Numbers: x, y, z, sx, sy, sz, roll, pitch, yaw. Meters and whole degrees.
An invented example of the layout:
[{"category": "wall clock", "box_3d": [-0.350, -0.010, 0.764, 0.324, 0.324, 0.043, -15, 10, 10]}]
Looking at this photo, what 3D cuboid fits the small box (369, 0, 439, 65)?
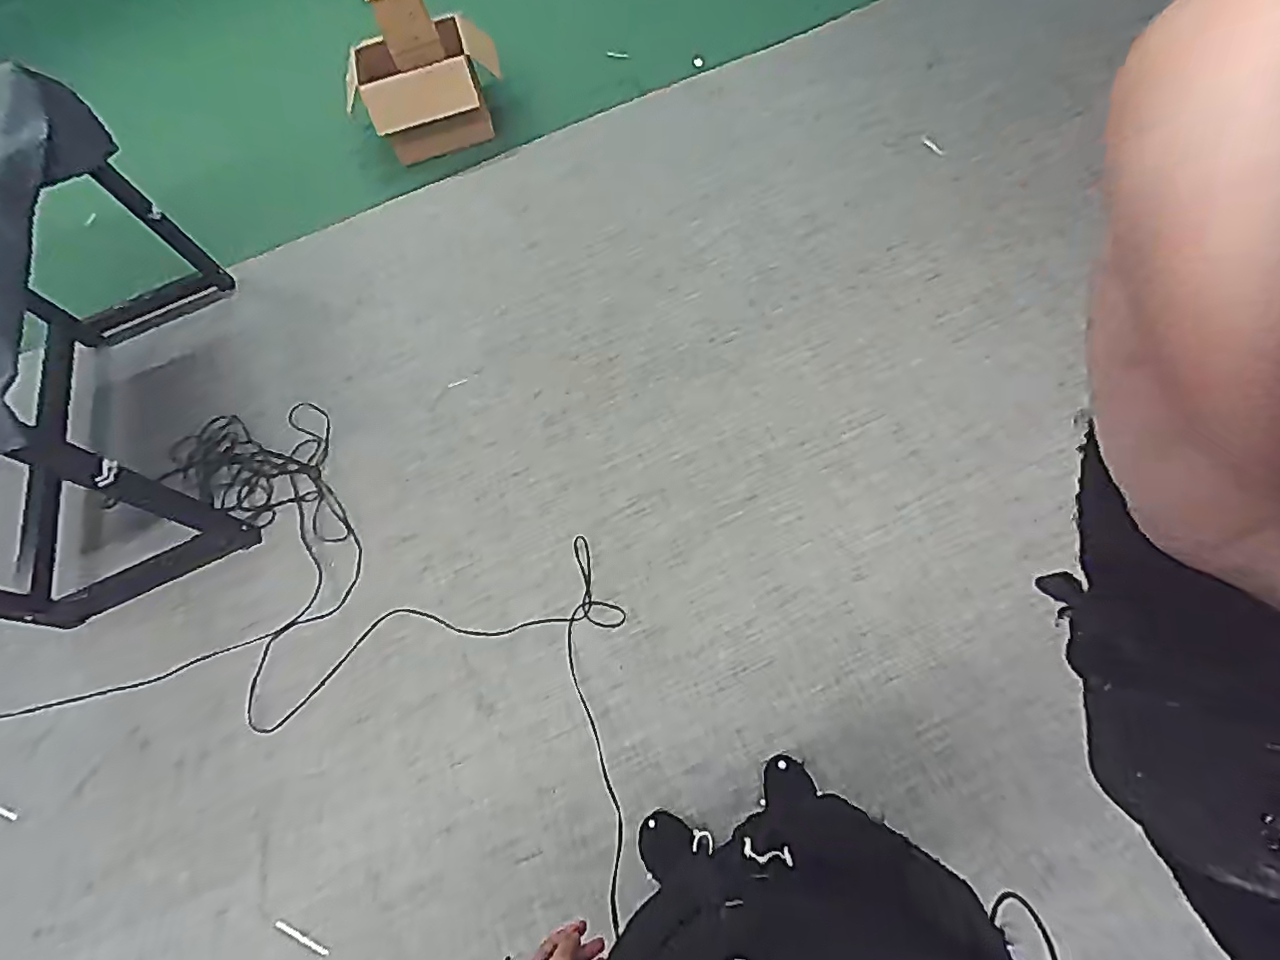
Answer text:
[{"category": "small box", "box_3d": [-0.829, -1.606, 1.907, 0.168, 0.176, 0.179, -19, 63, -1]}]
